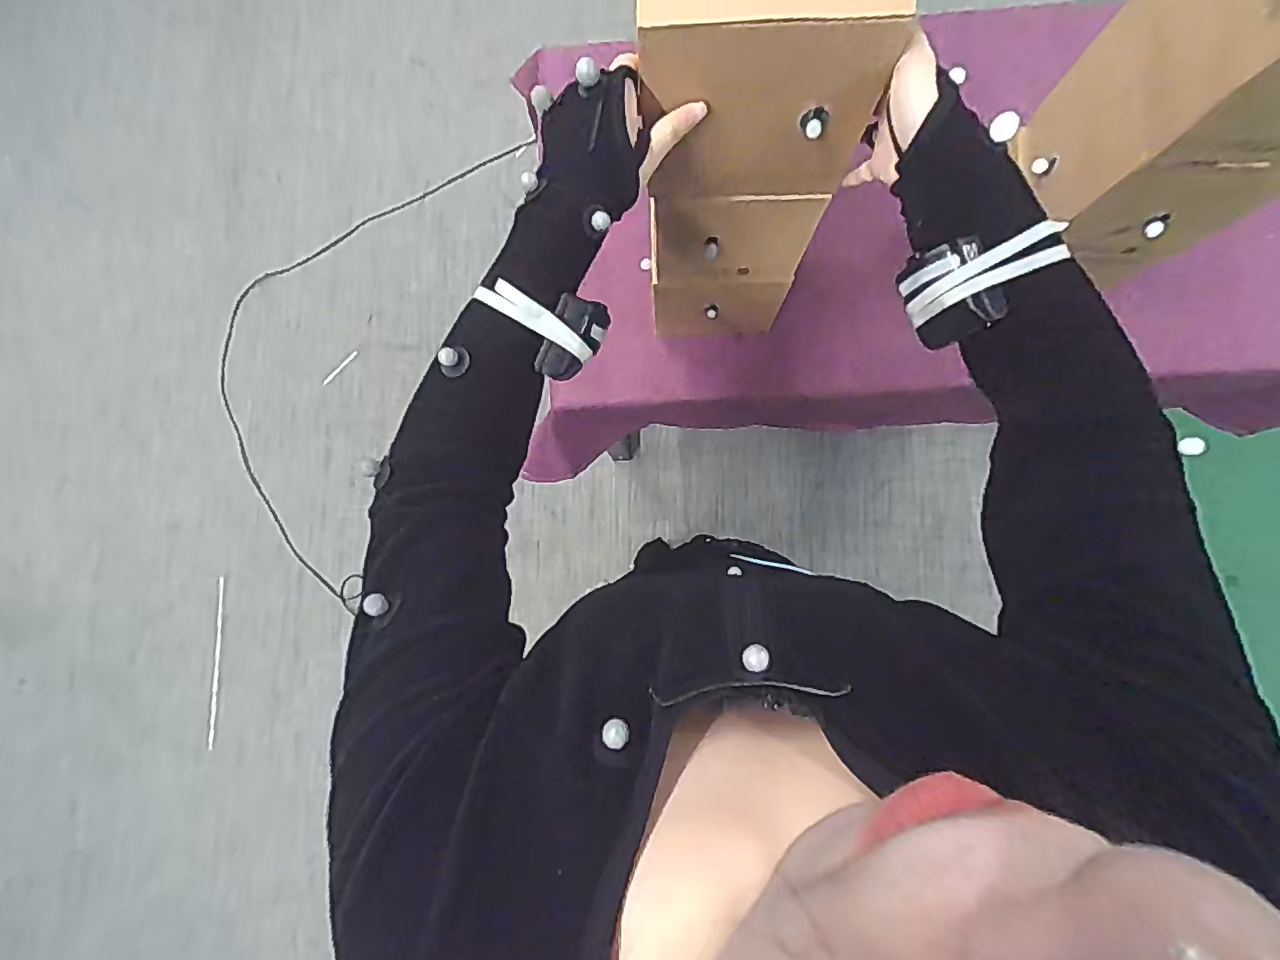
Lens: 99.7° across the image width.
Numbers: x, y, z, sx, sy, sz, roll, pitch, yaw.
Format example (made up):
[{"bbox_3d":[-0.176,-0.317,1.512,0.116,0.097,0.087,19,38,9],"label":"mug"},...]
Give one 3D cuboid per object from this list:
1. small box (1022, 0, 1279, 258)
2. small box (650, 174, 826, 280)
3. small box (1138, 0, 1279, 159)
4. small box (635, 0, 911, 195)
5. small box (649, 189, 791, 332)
[{"bbox_3d":[0.540,-0.356,0.571,0.168,0.176,0.179,4,85,3],"label":"small box"},{"bbox_3d":[0.097,-0.334,0.592,0.168,0.176,0.179,0,83,3],"label":"small box"},{"bbox_3d":[0.530,-0.372,0.407,0.168,0.176,0.179,2,84,3],"label":"small box"},{"bbox_3d":[0.088,-0.353,0.429,0.179,0.176,0.168,1,82,3],"label":"small box"},{"bbox_3d":[0.102,-0.315,0.752,0.179,0.176,0.168,-1,84,3],"label":"small box"}]
